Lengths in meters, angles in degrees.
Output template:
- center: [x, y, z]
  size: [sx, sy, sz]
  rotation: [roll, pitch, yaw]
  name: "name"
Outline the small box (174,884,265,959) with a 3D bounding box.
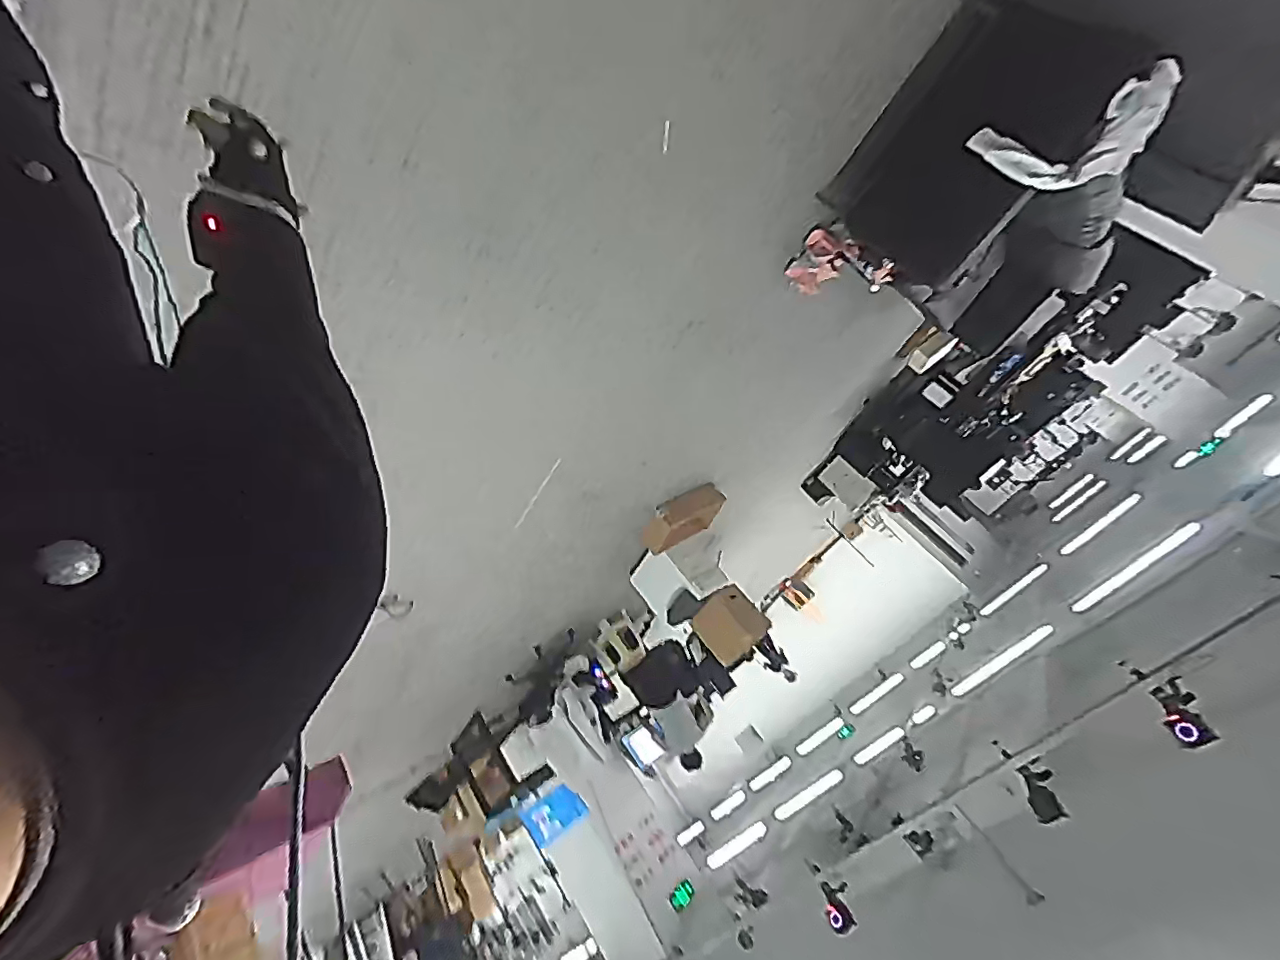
- center: [-1.429, 1.531, 1.835]
  size: [0.168, 0.176, 0.179]
  rotation: [-48, 155, 15]
  name: "small box"
